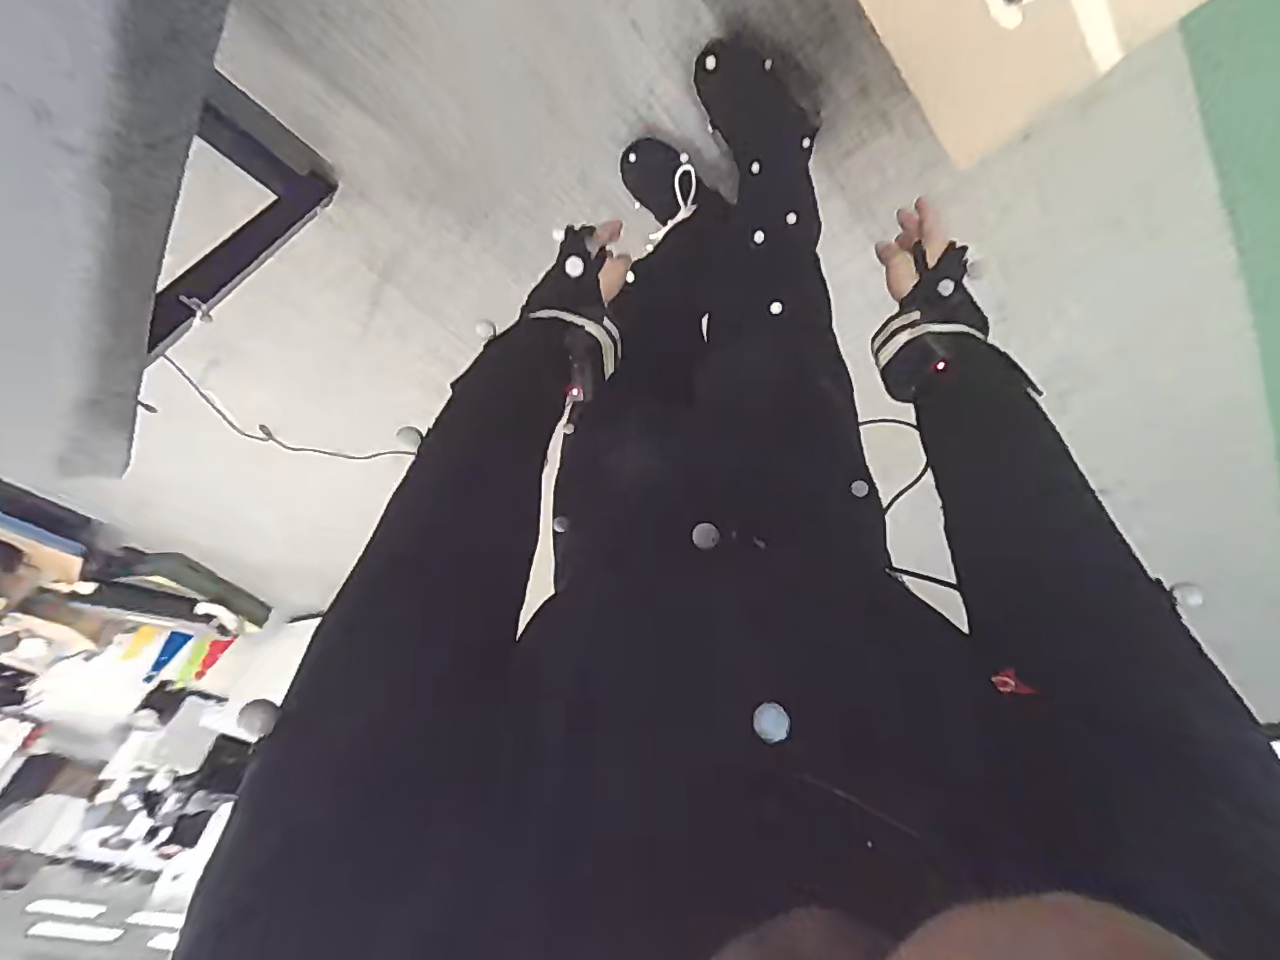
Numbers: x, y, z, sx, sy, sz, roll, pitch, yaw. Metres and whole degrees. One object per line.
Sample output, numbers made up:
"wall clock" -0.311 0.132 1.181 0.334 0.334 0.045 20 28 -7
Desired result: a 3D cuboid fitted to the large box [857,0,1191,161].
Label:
"large box" 0.378 -0.666 0.583 0.408 0.320 0.320 35 135 -28
